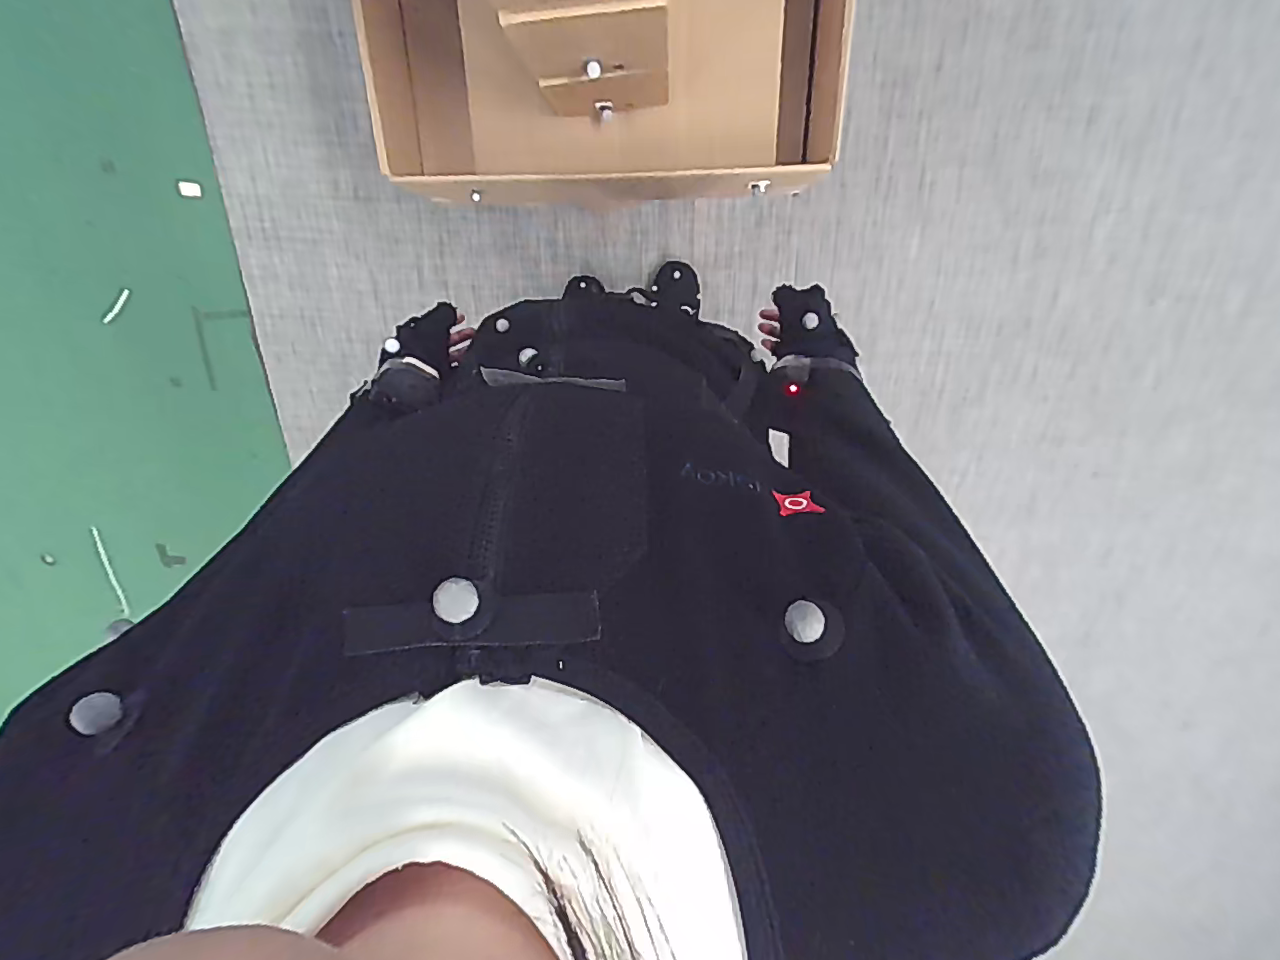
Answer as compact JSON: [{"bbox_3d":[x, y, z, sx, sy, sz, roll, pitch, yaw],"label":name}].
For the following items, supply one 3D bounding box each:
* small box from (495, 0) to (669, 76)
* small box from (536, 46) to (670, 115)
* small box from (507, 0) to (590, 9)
[{"bbox_3d":[-0.056,-0.553,0.556,0.168,0.176,0.179,-2,112,5],"label":"small box"},{"bbox_3d":[-0.050,-0.610,0.710,0.168,0.176,0.179,-4,112,5],"label":"small box"},{"bbox_3d":[-0.065,-0.502,0.400,0.168,0.176,0.179,-2,110,5],"label":"small box"}]
